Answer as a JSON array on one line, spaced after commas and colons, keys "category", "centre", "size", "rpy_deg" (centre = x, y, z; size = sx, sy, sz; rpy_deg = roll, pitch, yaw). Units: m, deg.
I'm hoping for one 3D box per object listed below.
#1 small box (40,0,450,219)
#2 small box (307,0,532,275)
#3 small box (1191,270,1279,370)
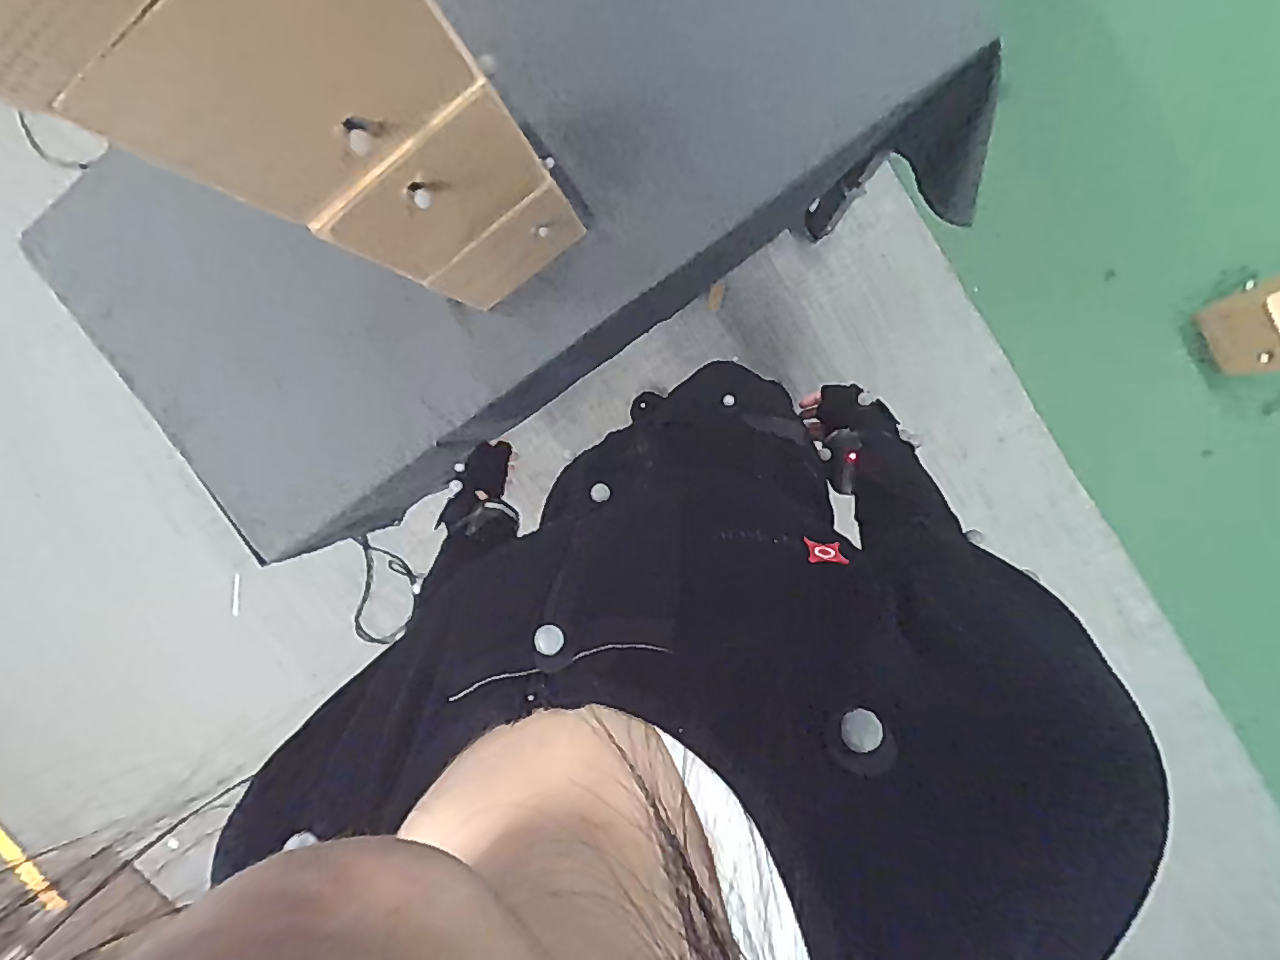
[{"category": "small box", "centre": [-0.241, -0.297, 0.320], "size": [0.179, 0.176, 0.168], "rpy_deg": [-32, 93, 9]}, {"category": "small box", "centre": [-0.216, -0.315, 0.481], "size": [0.179, 0.176, 0.168], "rpy_deg": [-35, 93, 10]}, {"category": "small box", "centre": [1.393, -0.354, 1.186], "size": [0.168, 0.176, 0.179], "rpy_deg": [-30, 93, 9]}]
